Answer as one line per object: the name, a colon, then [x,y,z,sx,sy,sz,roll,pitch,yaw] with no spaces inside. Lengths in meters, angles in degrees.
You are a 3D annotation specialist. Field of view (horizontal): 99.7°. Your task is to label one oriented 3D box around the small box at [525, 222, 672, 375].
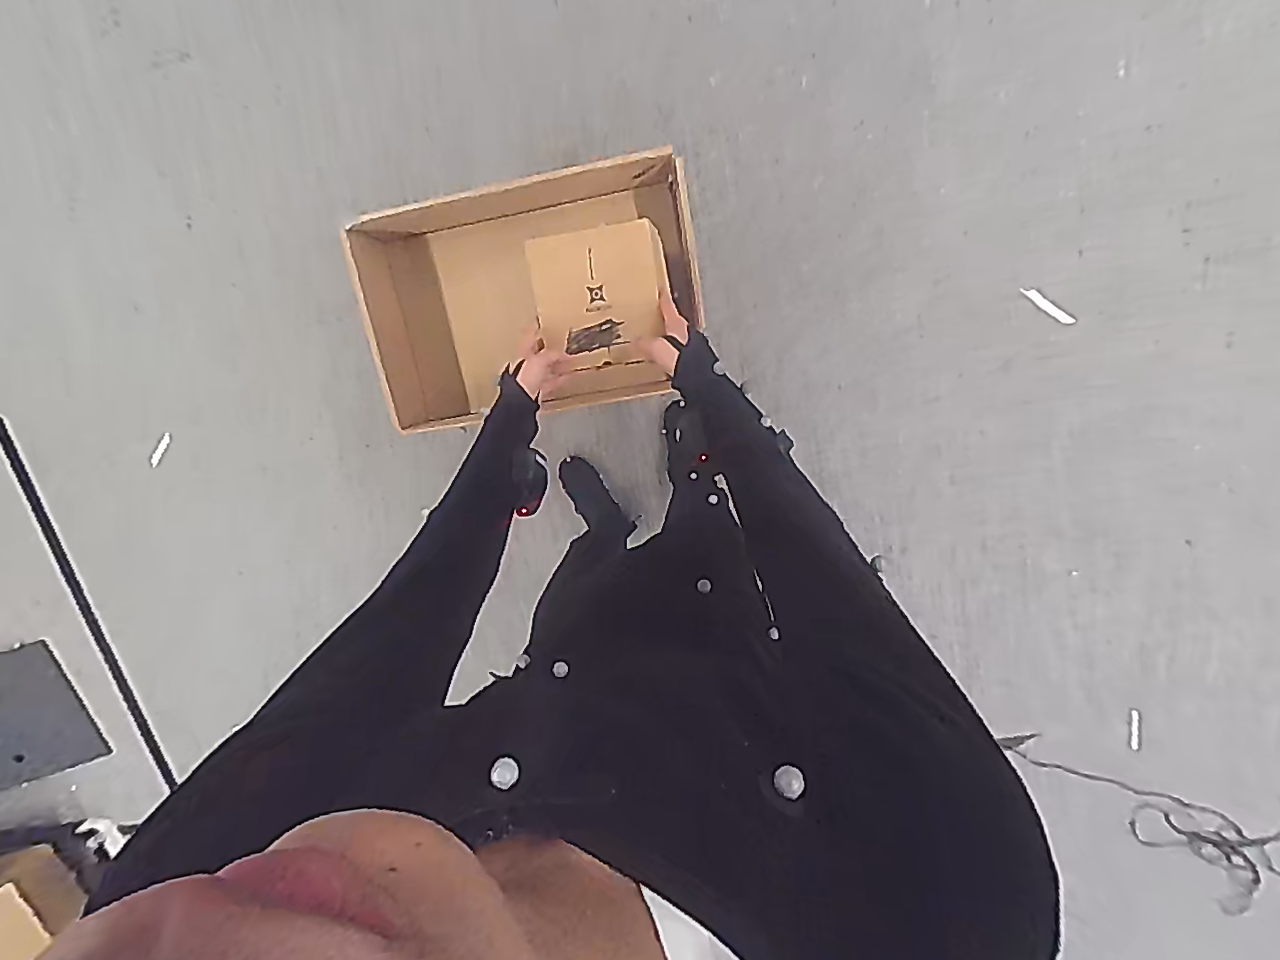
small box: [-0.047,-0.261,0.781,0.168,0.176,0.179,-6,110,8]
